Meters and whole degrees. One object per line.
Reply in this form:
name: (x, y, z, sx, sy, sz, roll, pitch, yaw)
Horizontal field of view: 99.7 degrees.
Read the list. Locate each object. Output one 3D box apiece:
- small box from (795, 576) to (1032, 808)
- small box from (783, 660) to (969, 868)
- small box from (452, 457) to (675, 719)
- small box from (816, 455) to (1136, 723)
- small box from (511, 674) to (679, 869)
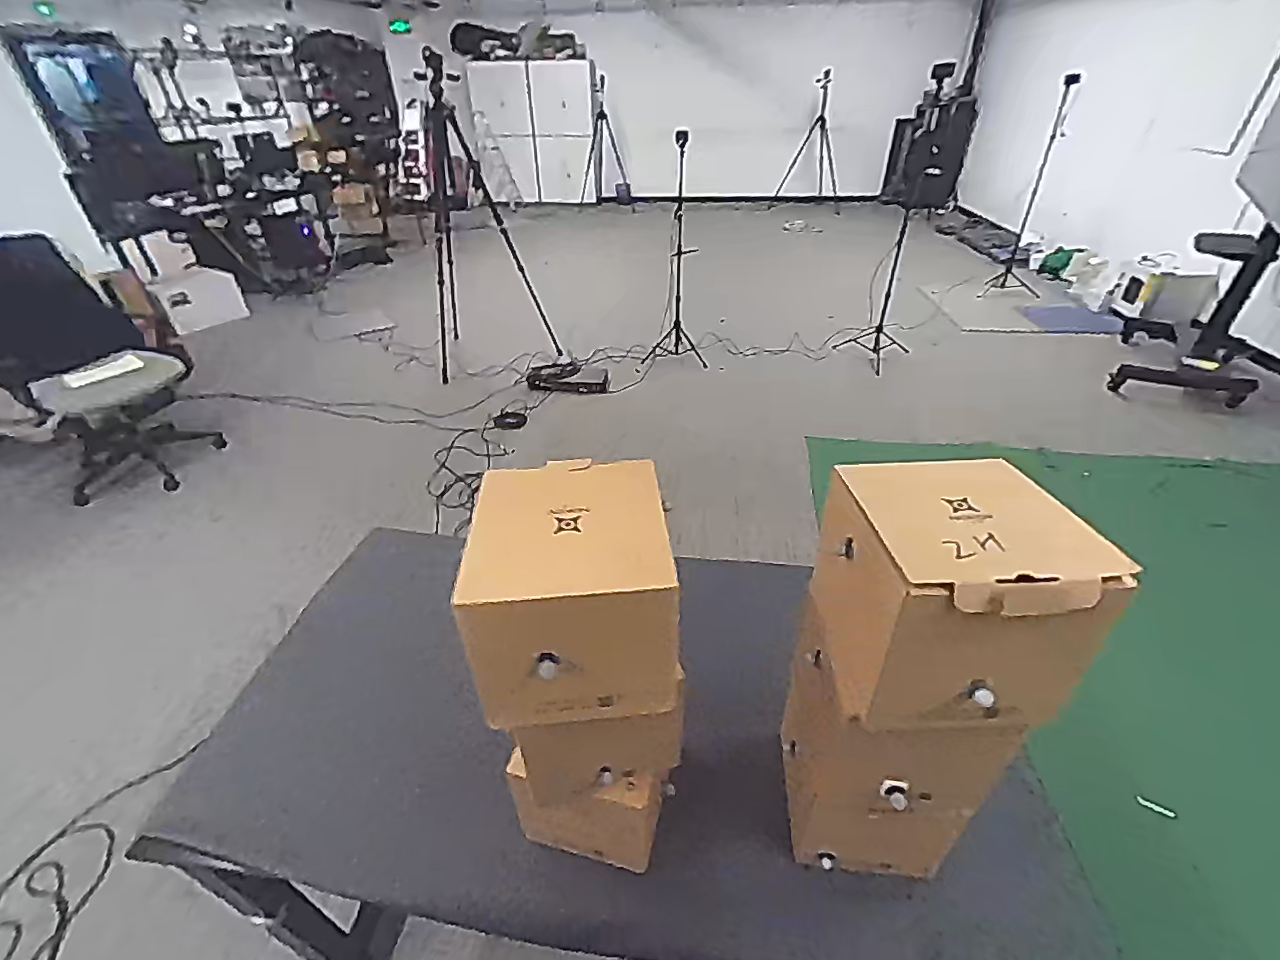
small box: (0.274, 0.226, 0.594, 0.168, 0.176, 0.179, -1, 35, 4)
small box: (0.280, 0.358, 0.688, 0.168, 0.176, 0.179, 2, 33, 6)
small box: (-0.059, 0.100, 0.502, 0.168, 0.176, 0.179, -5, 35, -4)
small box: (0.271, 0.094, 0.494, 0.168, 0.176, 0.179, -3, 34, 1)
small box: (-0.049, 0.358, 0.705, 0.168, 0.176, 0.179, 7, 35, 13)
